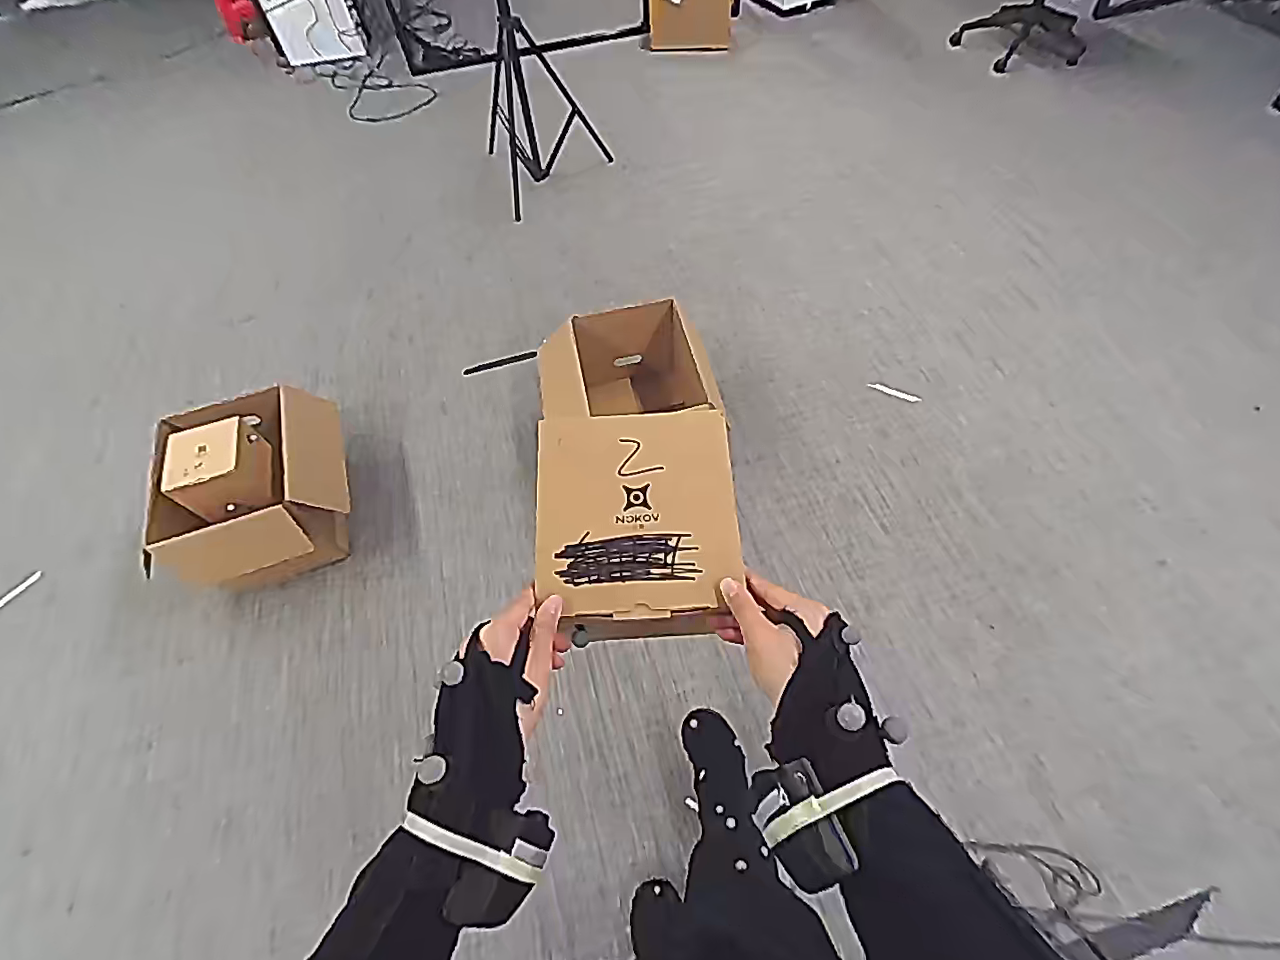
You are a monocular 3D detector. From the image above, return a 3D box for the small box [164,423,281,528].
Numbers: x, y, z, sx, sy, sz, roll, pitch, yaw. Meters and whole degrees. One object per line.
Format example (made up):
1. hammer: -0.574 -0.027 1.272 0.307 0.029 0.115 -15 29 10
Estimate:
1. small box: -1.036 -0.008 1.358 0.168 0.176 0.179 -18 59 -7
